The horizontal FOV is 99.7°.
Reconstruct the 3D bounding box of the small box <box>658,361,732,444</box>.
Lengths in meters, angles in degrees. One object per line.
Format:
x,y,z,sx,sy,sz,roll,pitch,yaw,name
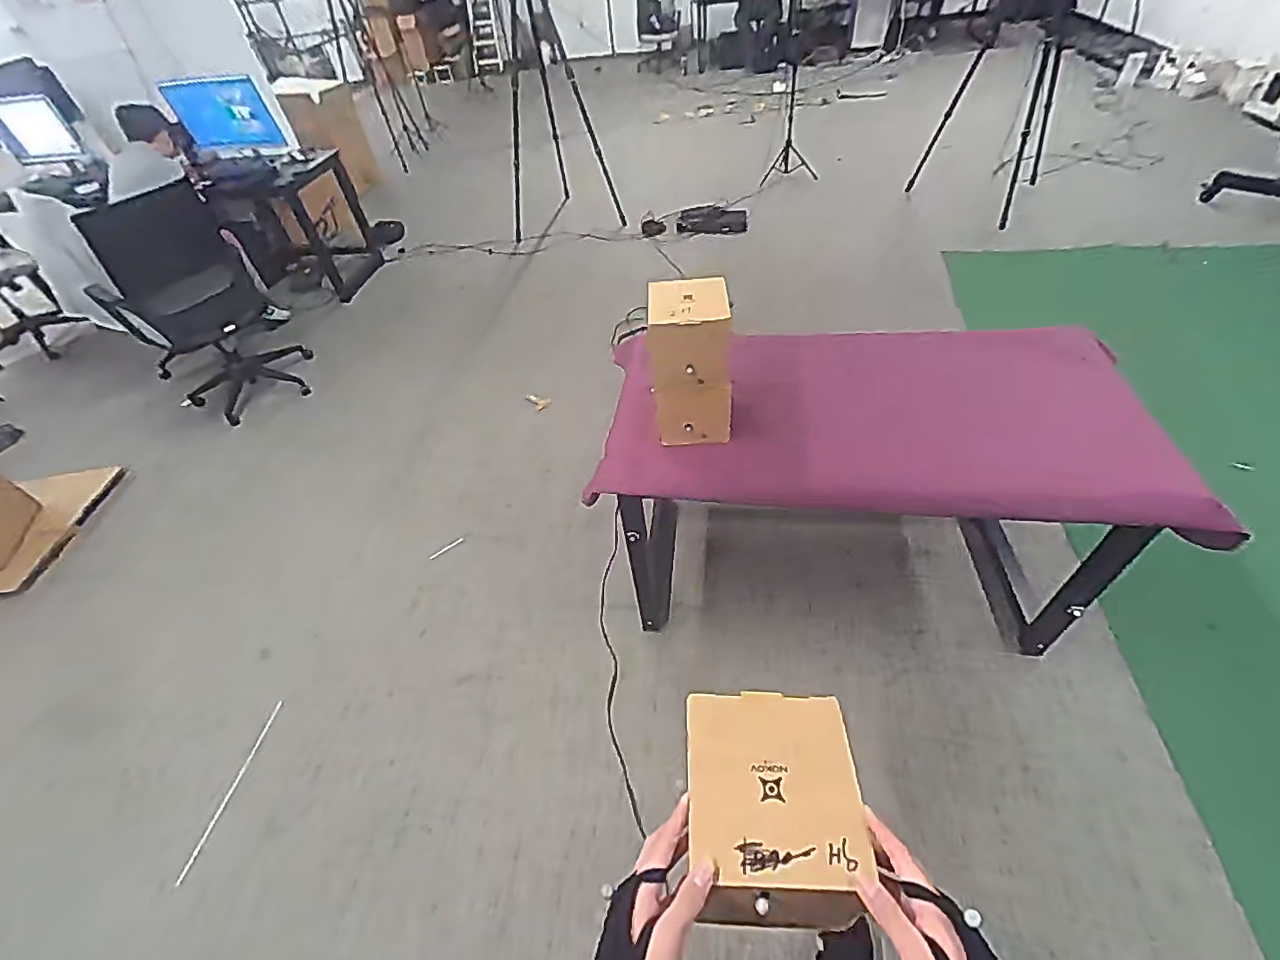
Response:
0.130,-0.206,1.293,0.168,0.176,0.179,-2,47,6,small box

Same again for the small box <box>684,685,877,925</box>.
0.131,0.344,0.579,0.168,0.176,0.179,-1,42,5,small box

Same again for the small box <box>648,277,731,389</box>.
0.107,-0.317,1.174,0.168,0.176,0.179,-3,47,6,small box
